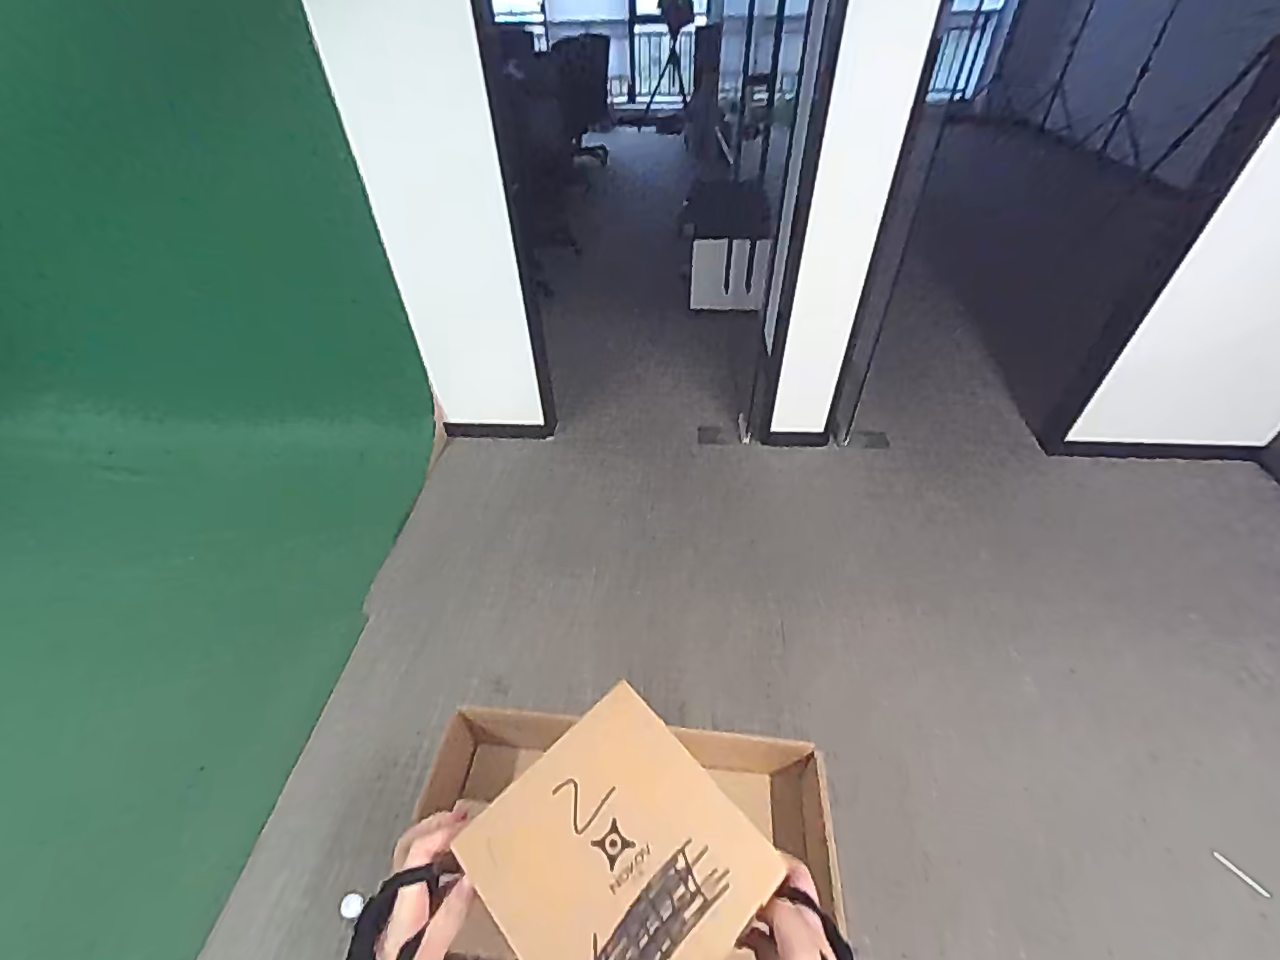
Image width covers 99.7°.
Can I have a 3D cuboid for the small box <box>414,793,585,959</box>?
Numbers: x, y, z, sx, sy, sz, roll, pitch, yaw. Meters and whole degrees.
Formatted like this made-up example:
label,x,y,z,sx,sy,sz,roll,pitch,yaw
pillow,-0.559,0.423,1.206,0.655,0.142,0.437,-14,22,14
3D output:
label,x,y,z,sx,sy,sz,roll,pitch,yaw
small box,-0.187,0.579,0.781,0.179,0.176,0.168,4,45,7
